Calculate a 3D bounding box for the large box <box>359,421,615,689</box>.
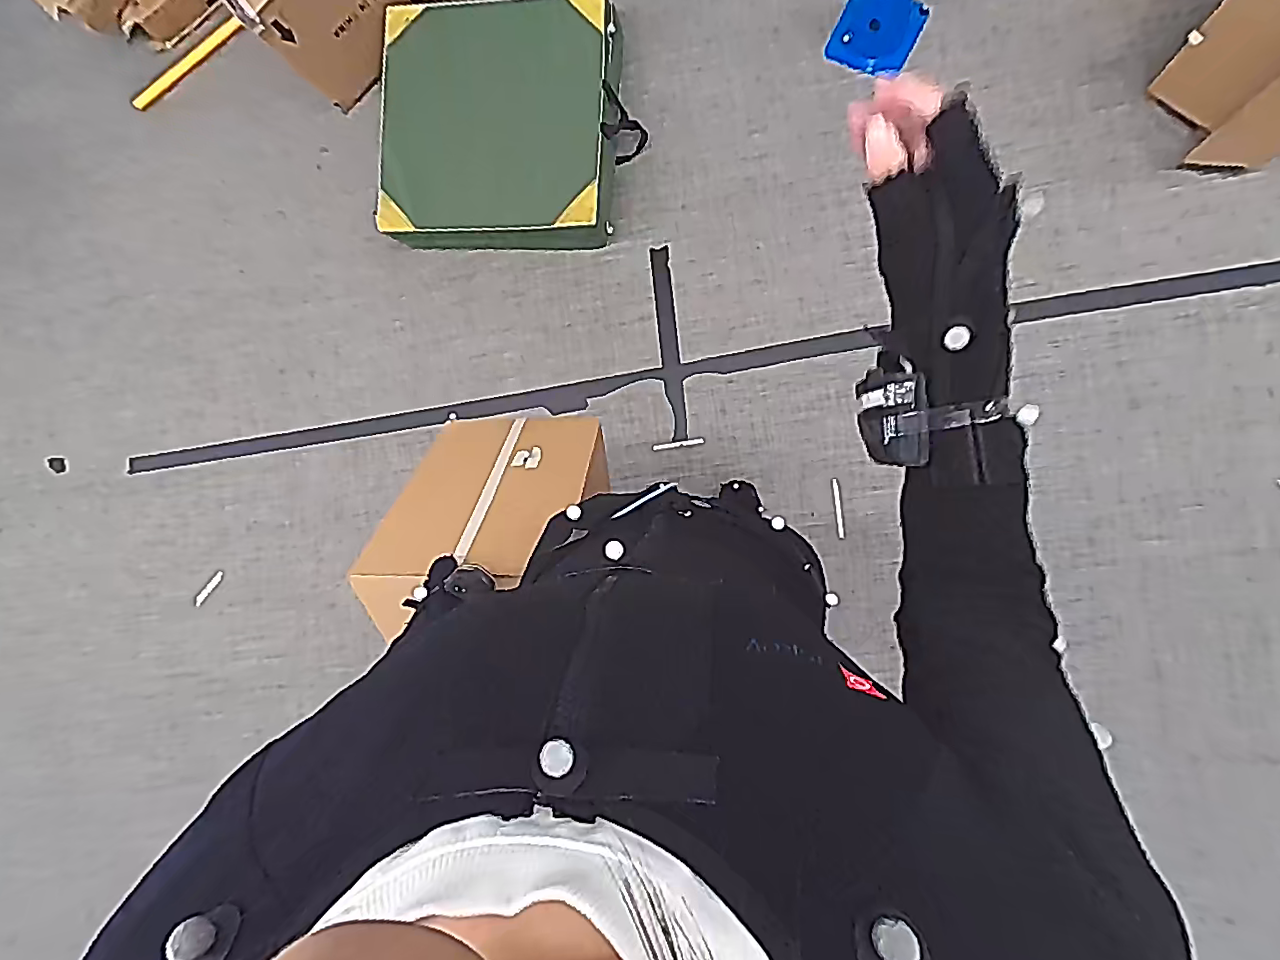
[{"bbox_3d":[-0.236,0.129,1.014,0.320,0.408,0.320,0,129,7],"label":"large box"}]
